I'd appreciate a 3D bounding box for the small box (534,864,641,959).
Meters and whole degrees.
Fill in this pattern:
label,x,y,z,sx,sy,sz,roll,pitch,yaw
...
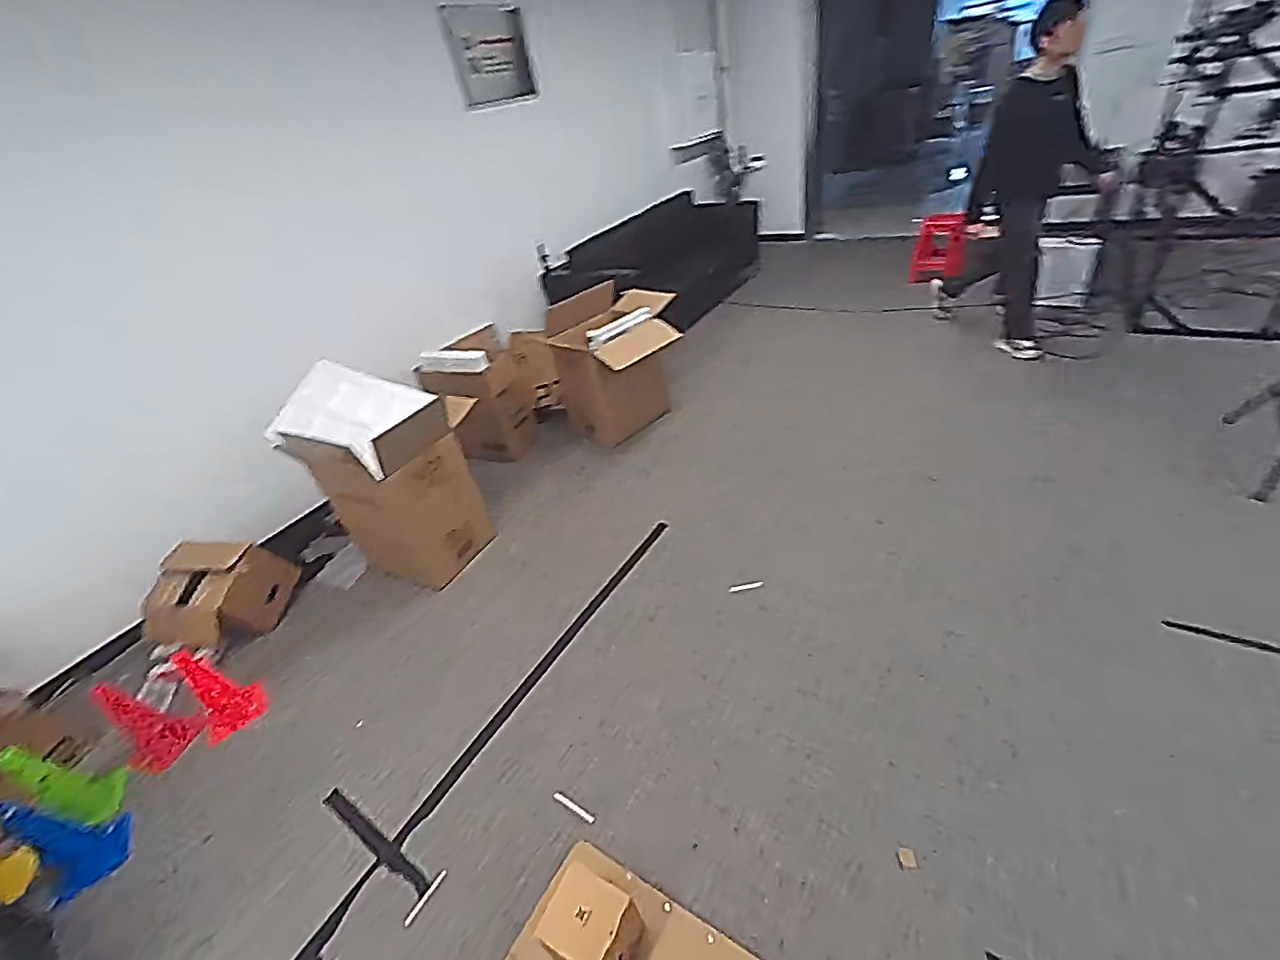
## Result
label,x,y,z,sx,sy,sz,roll,pitch,yaw
small box,-0.118,1.071,1.286,0.179,0.176,0.168,10,40,28
